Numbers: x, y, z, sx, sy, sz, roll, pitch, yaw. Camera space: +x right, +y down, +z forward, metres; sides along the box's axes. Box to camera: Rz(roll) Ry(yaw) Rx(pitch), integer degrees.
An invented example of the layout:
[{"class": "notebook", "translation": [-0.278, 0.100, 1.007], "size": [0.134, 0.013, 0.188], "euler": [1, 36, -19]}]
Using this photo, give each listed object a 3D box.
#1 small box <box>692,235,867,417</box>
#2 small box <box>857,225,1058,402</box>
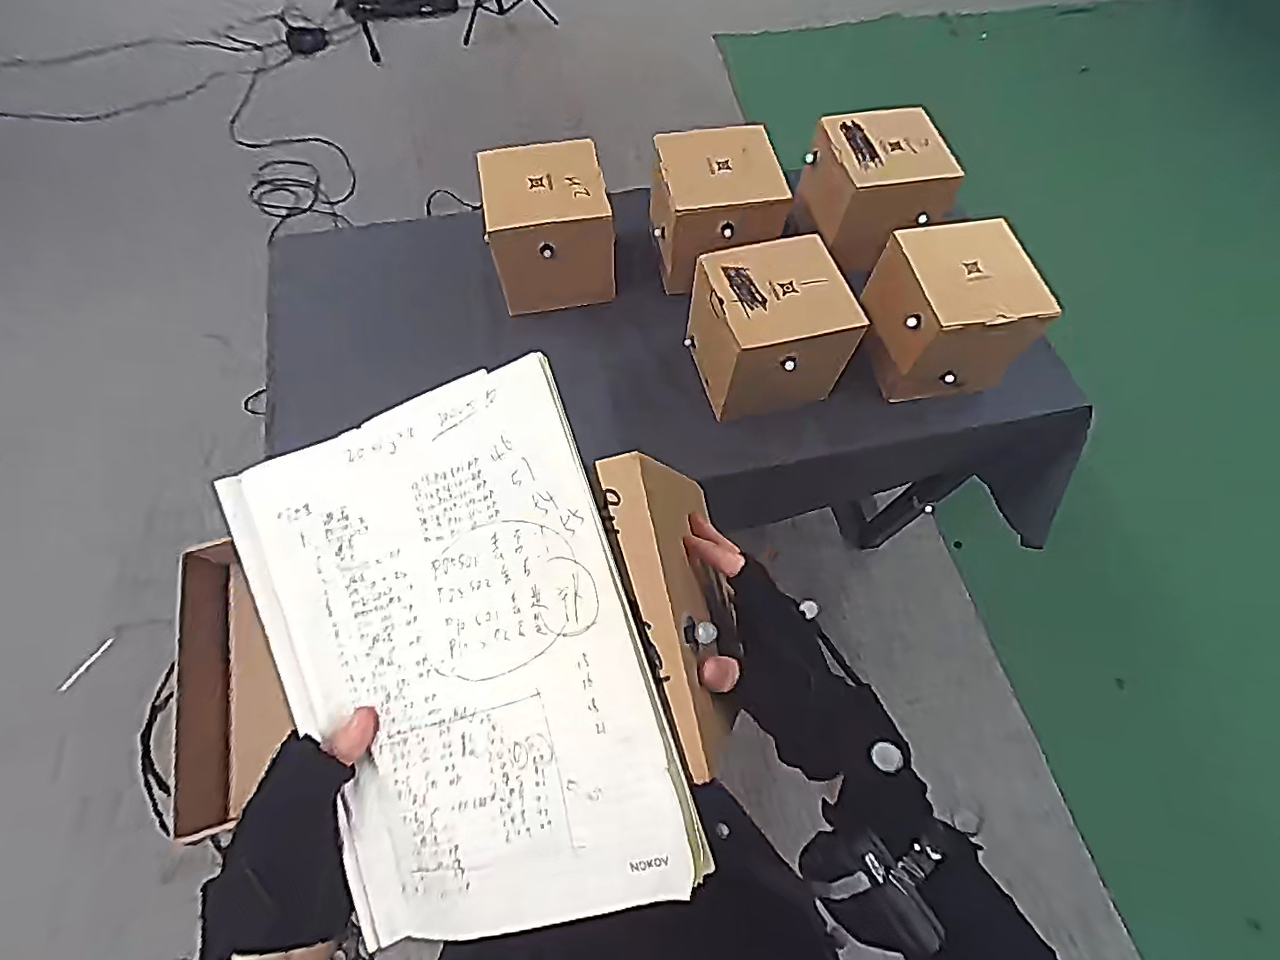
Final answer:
[{"class": "small box", "translation": [0.178, -0.209, 0.765], "size": [0.179, 0.176, 0.168], "euler": [-13, 66, -9]}, {"class": "small box", "translation": [0.438, -0.238, 0.789], "size": [0.168, 0.176, 0.179], "euler": [-8, 65, -5]}]
